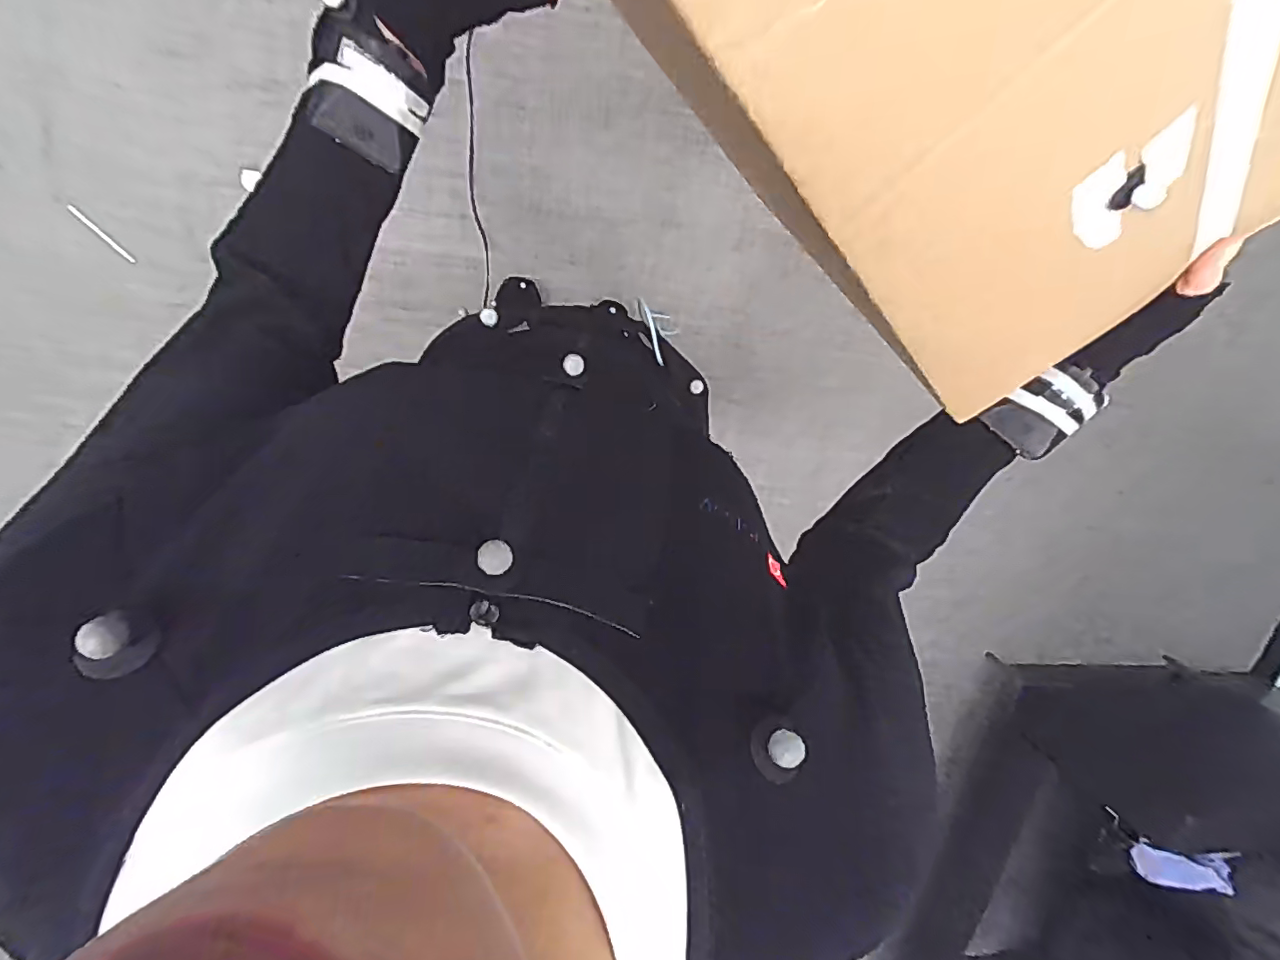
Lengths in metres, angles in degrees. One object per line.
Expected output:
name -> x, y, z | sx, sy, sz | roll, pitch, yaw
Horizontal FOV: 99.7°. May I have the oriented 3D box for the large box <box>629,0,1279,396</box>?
large box -> 0.170, -0.308, 0.270 | 0.320, 0.320, 0.408 | -39, 145, 26
